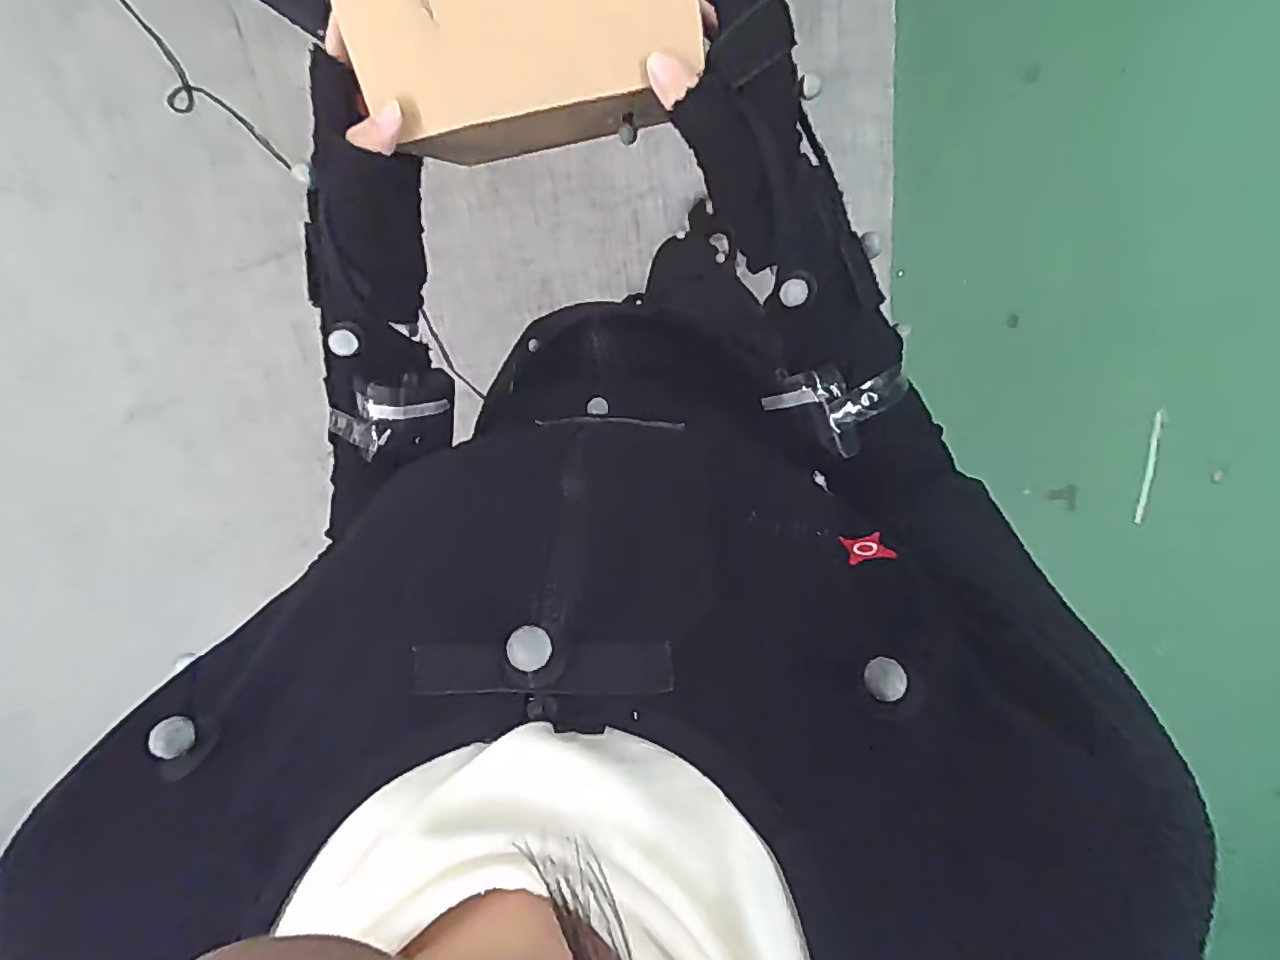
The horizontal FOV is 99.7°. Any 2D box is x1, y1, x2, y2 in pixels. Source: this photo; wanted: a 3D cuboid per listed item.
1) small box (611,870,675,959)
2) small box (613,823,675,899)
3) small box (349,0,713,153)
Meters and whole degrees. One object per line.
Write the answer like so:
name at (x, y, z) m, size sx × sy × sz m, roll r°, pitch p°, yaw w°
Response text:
small box at (0.014, 1.414, 1.761) m, size 0.179 × 0.176 × 0.168 m, roll -11°, pitch 110°, yaw 7°
small box at (0.020, 1.359, 1.915) m, size 0.179 × 0.176 × 0.168 m, roll -16°, pitch 110°, yaw 9°
small box at (-0.064, -0.309, 0.317) m, size 0.179 × 0.176 × 0.168 m, roll -11°, pitch 115°, yaw 6°
